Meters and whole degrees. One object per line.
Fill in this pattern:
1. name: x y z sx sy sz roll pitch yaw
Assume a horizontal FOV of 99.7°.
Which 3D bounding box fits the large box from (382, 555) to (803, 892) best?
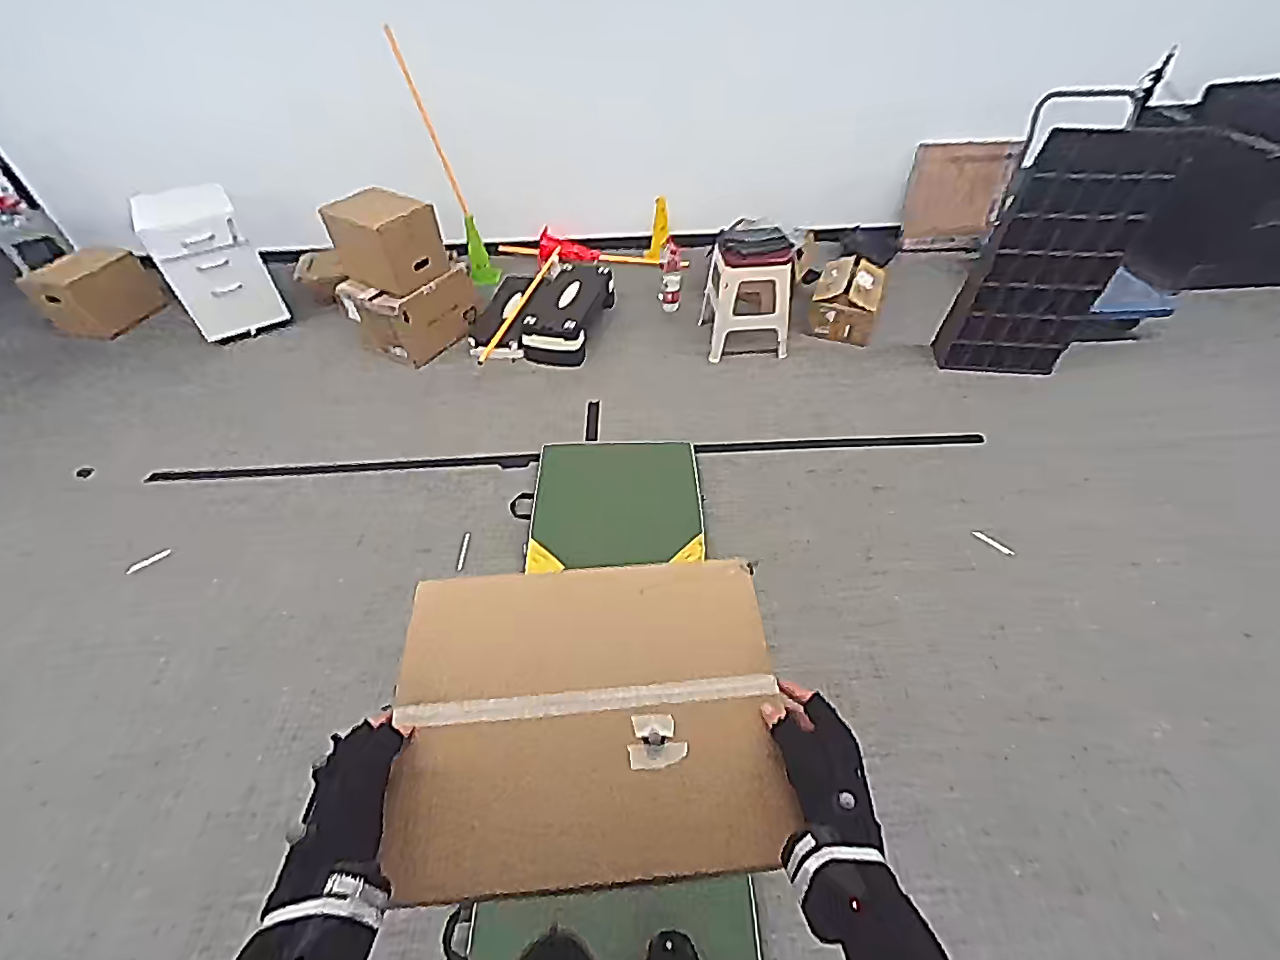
1. large box: -0.057 0.322 0.709 0.408 0.320 0.320 -4 53 -4
